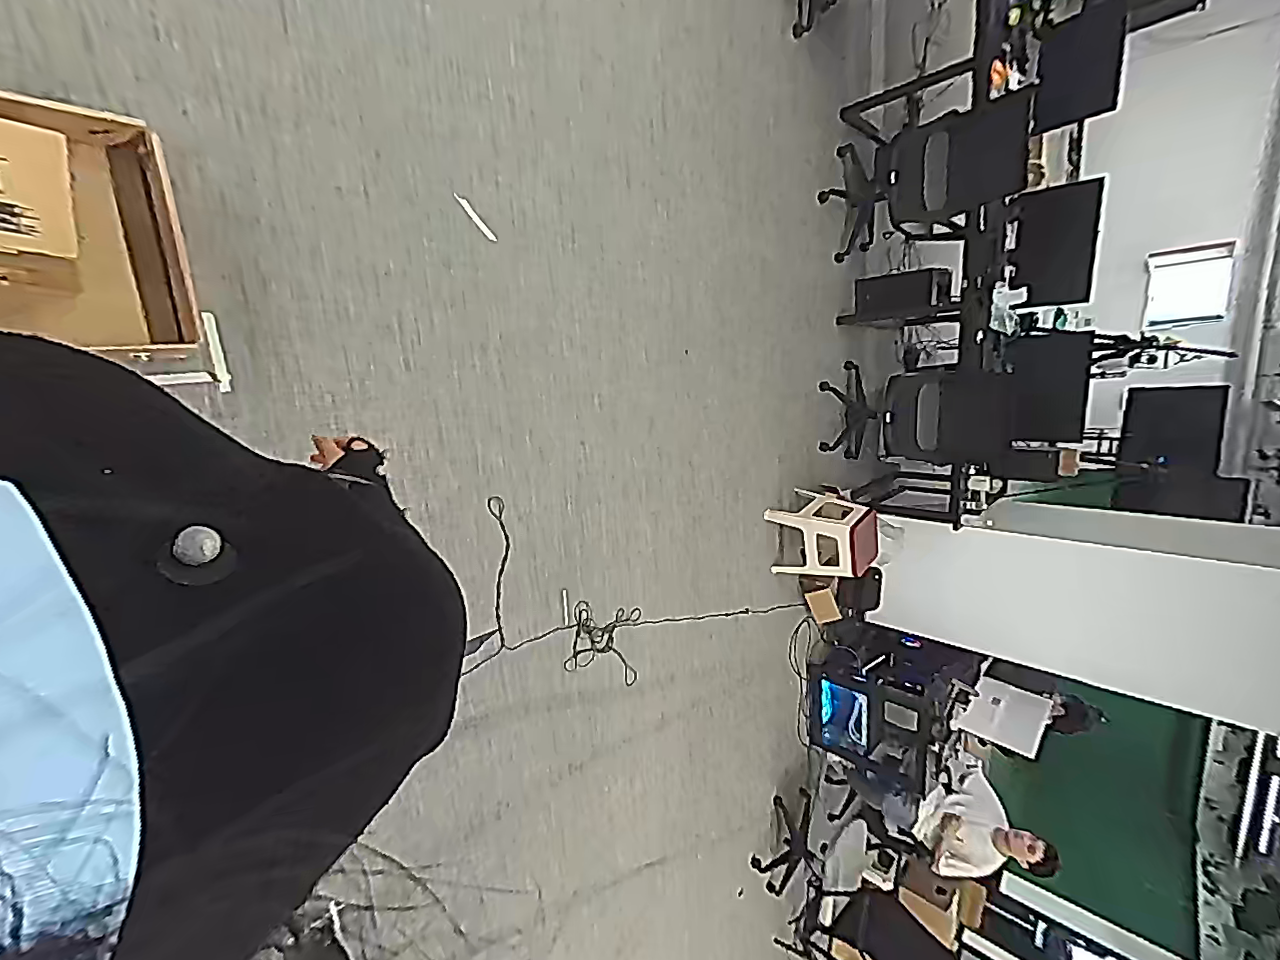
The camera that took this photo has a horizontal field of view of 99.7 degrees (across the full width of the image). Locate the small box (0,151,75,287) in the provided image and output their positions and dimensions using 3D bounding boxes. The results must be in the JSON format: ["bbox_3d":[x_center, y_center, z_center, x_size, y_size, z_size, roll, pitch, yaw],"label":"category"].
[{"bbox_3d":[-1.057,-0.429,0.887,0.168,0.176,0.179,-8,102,-44],"label":"small box"}]
